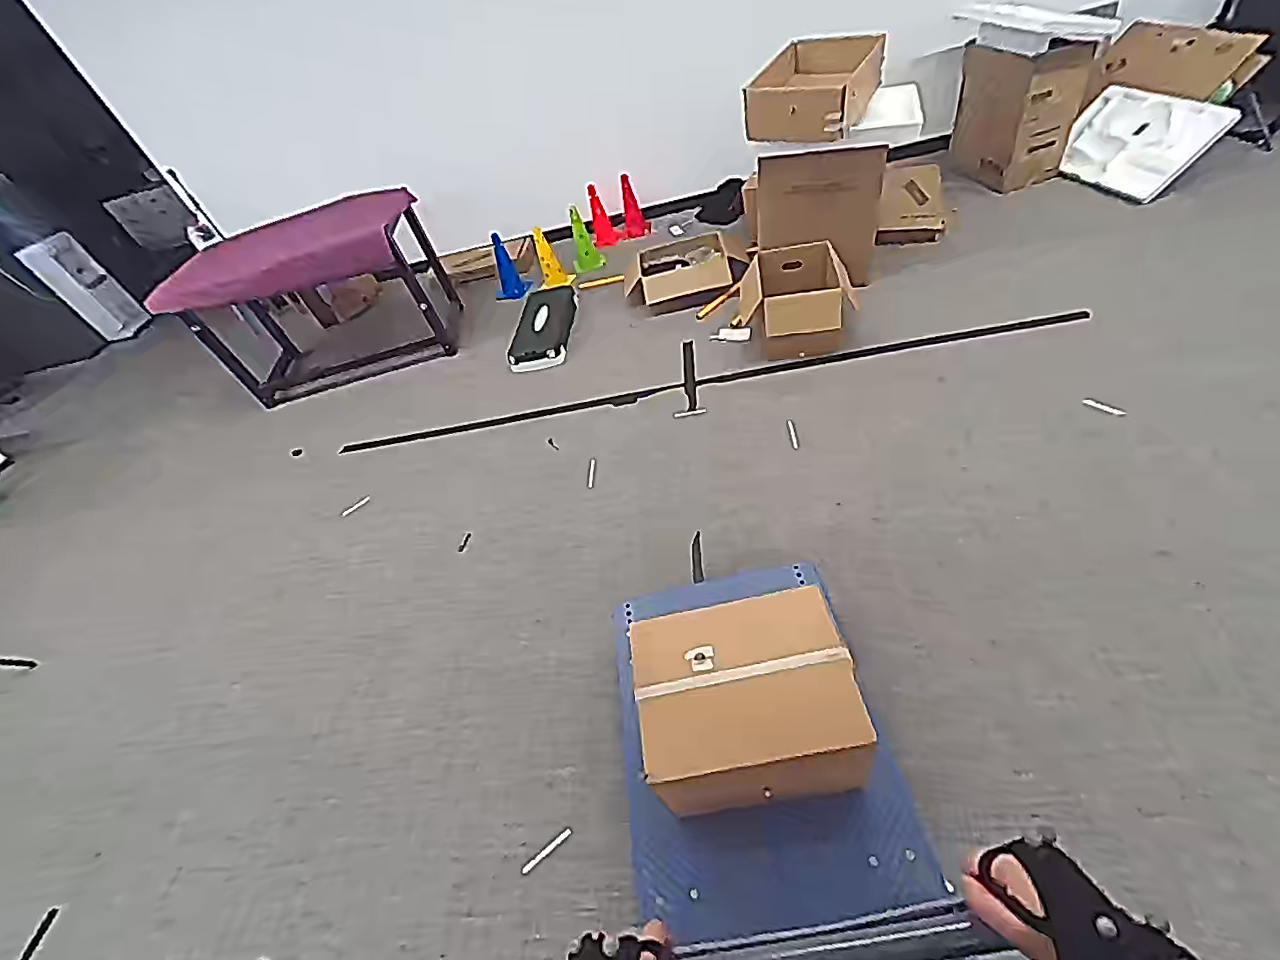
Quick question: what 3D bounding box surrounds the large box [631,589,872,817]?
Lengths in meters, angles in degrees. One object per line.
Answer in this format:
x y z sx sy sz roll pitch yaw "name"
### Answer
0.226 0.482 1.153 0.408 0.320 0.320 -15 46 5 "large box"
